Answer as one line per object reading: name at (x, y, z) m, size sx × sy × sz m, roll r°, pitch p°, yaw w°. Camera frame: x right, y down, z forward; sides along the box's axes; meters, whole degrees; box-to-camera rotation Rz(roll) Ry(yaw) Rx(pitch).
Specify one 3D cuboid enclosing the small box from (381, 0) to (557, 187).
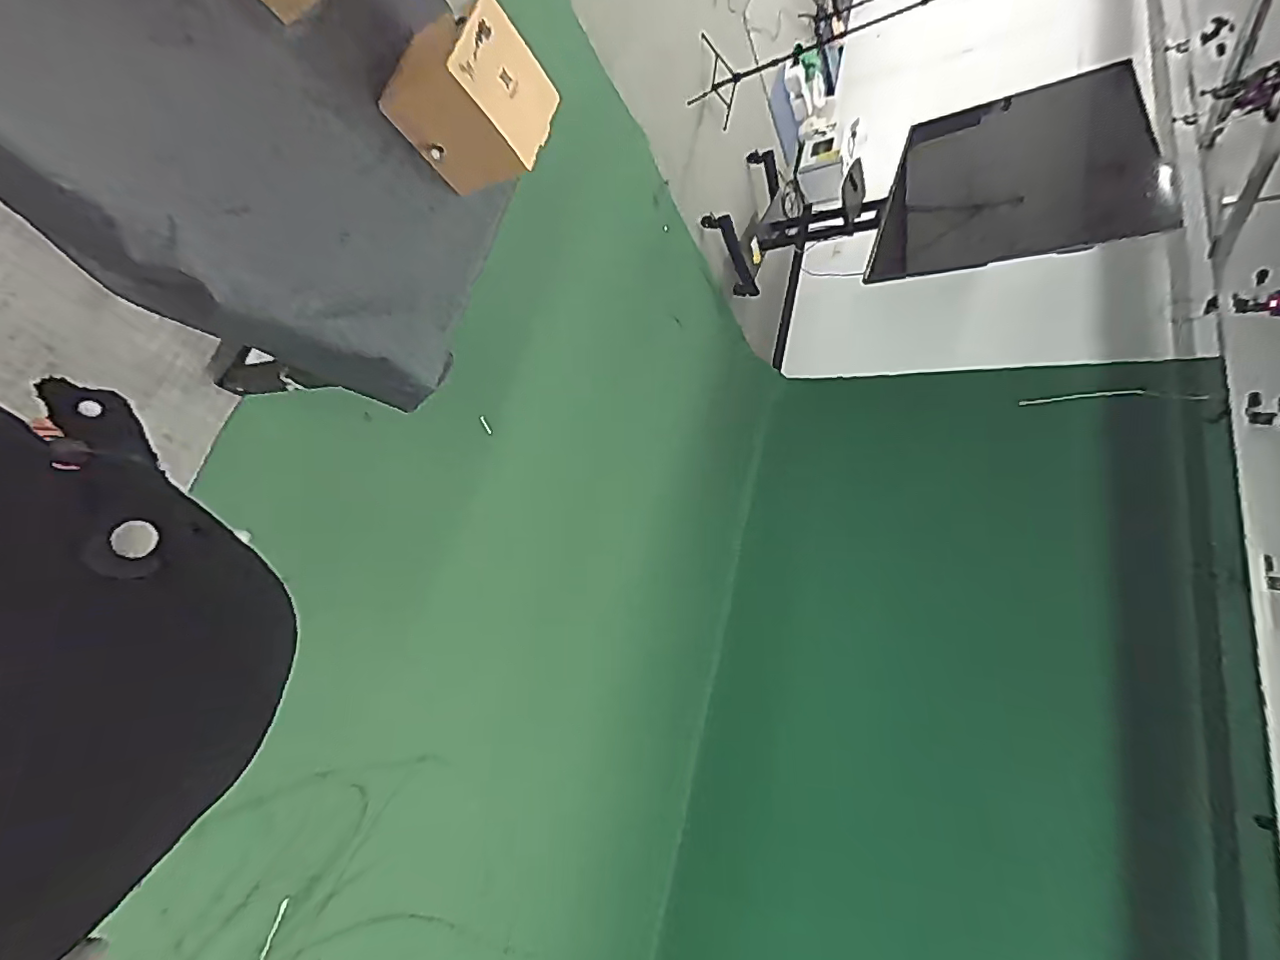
small box at (-0.267, -0.600, 0.862) m, size 0.179 × 0.176 × 0.168 m, roll 39°, pitch 61°, yaw -52°
